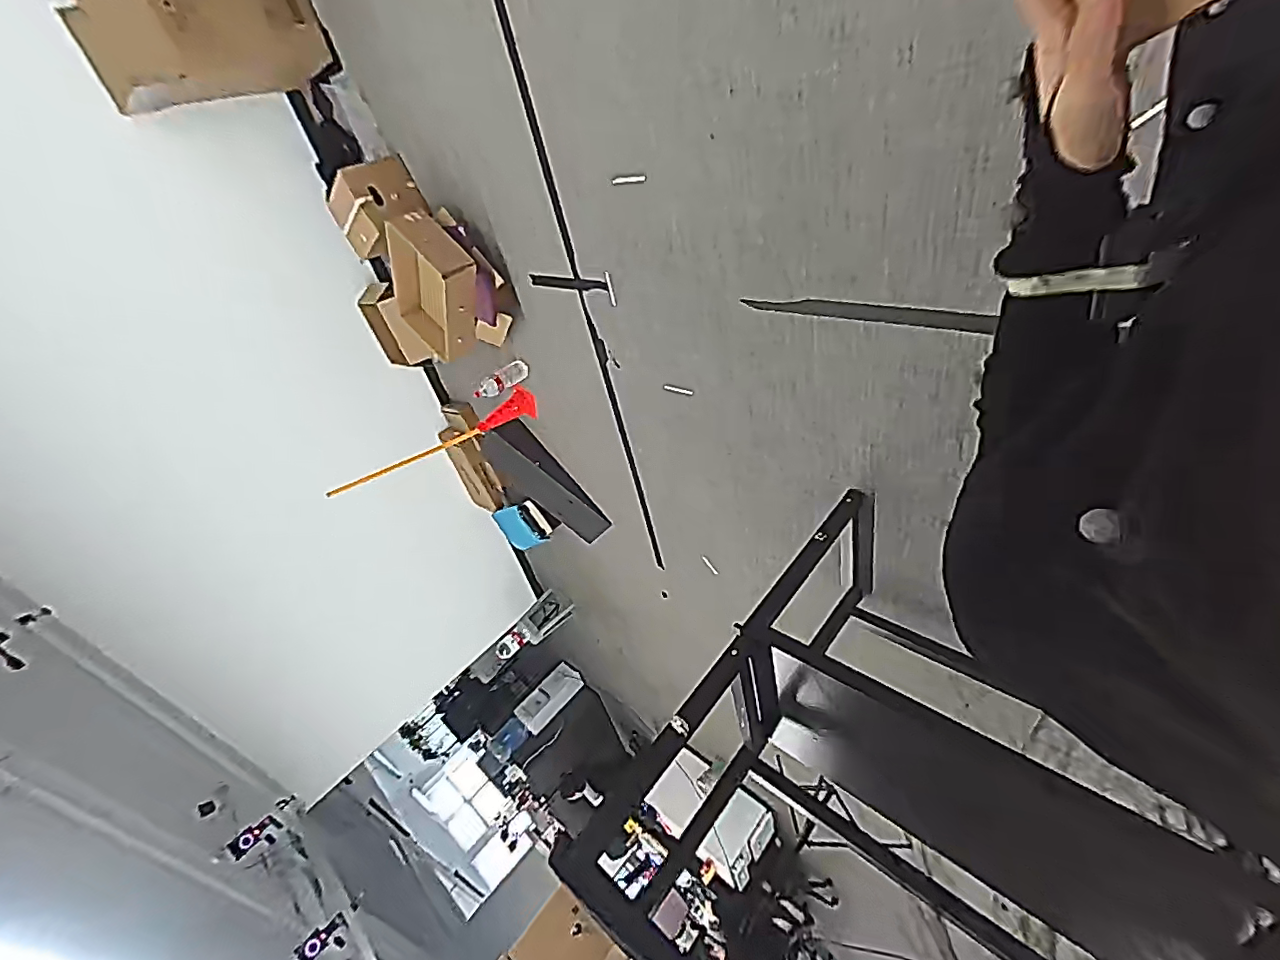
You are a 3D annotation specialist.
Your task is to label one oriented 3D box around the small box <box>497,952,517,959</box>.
[{"bbox_3d":[-0.258,1.099,1.069,0.168,0.176,0.179,21,139,38],"label":"small box"}]
